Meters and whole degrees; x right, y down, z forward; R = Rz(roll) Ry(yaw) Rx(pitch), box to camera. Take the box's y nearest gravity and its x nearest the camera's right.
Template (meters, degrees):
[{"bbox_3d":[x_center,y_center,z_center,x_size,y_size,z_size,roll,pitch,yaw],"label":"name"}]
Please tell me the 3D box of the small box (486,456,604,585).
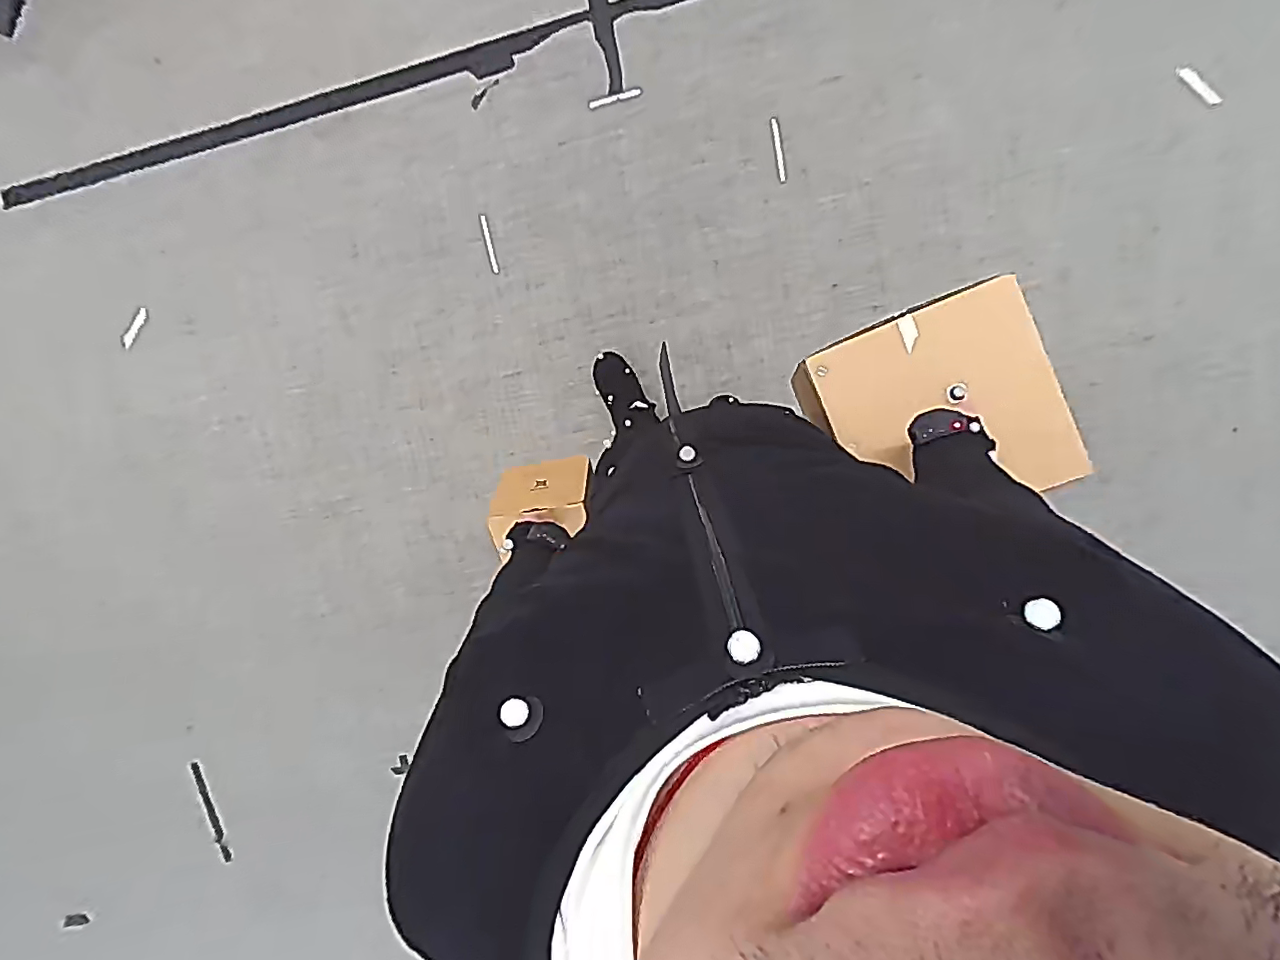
[{"bbox_3d":[-0.162,0.078,0.993,0.168,0.179,0.176,-8,118,3],"label":"small box"}]
